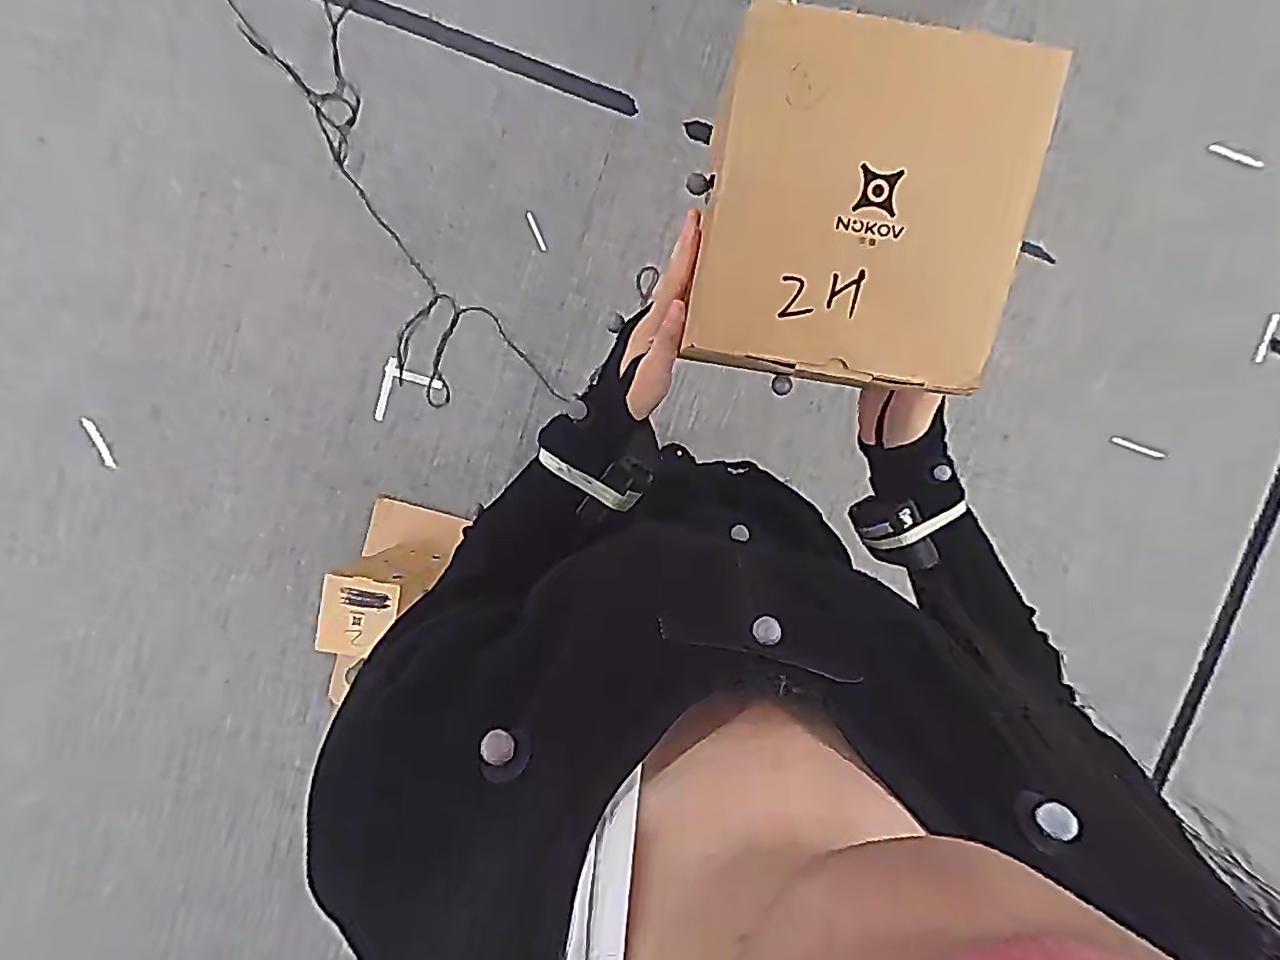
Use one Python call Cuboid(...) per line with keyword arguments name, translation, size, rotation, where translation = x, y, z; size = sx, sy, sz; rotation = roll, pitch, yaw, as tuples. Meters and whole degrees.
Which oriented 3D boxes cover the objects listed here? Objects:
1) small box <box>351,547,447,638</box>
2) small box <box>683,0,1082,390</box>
Cuboid(name="small box", translation=(-0.615, 0.283, 1.403), size=(0.168, 0.176, 0.179), rotation=(12, 94, -2))
Cuboid(name="small box", translation=(0.126, -0.161, 0.358), size=(0.168, 0.176, 0.179), rotation=(9, 101, -2))
